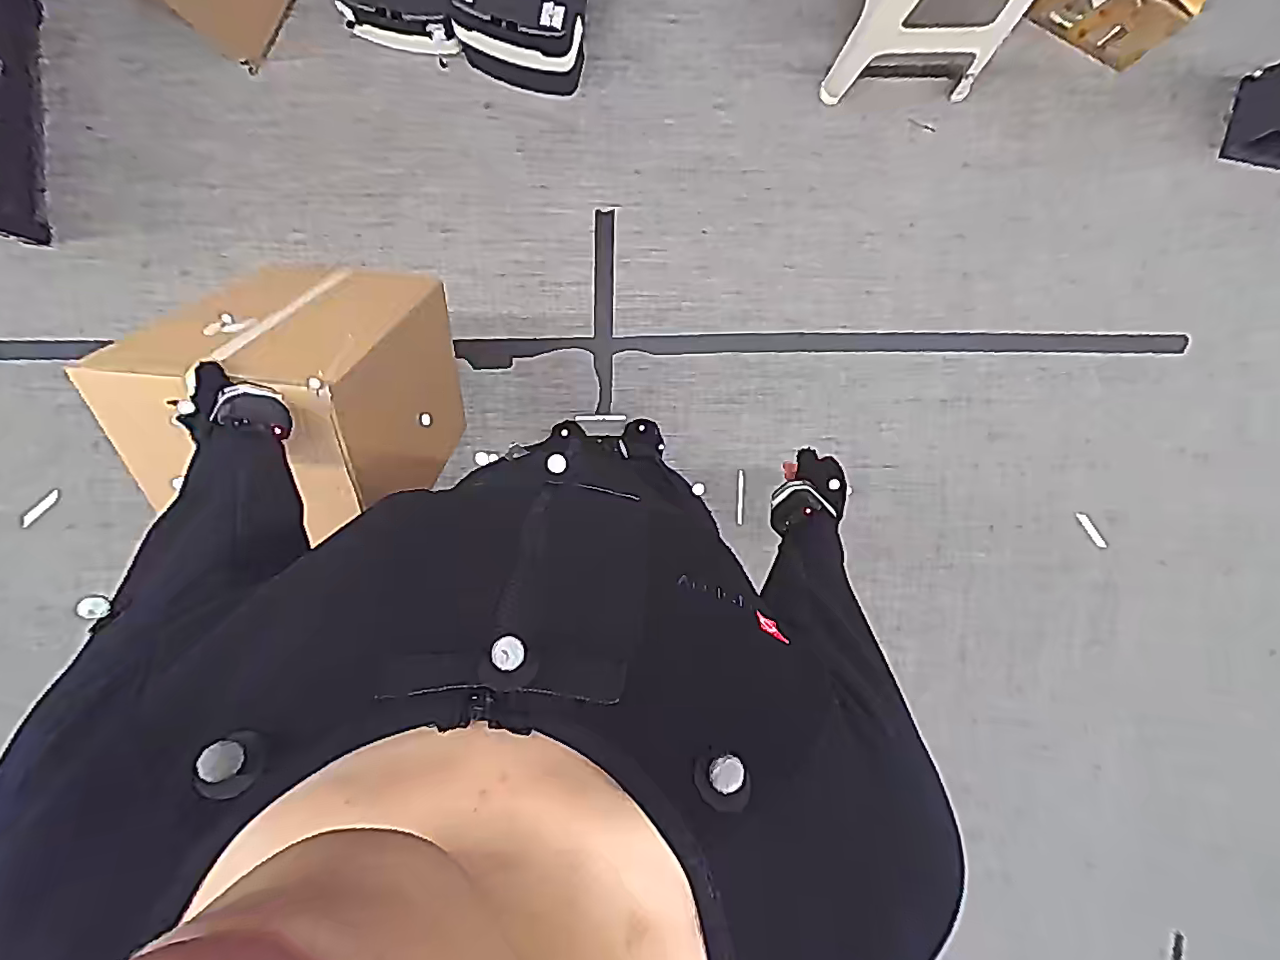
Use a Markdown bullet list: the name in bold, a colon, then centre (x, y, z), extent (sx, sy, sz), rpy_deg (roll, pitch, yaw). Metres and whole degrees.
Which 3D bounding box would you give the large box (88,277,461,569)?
- **large box**: centre (-0.523, -0.111, 0.901), extent (0.320, 0.408, 0.320), rpy_deg (5, 127, 1)
